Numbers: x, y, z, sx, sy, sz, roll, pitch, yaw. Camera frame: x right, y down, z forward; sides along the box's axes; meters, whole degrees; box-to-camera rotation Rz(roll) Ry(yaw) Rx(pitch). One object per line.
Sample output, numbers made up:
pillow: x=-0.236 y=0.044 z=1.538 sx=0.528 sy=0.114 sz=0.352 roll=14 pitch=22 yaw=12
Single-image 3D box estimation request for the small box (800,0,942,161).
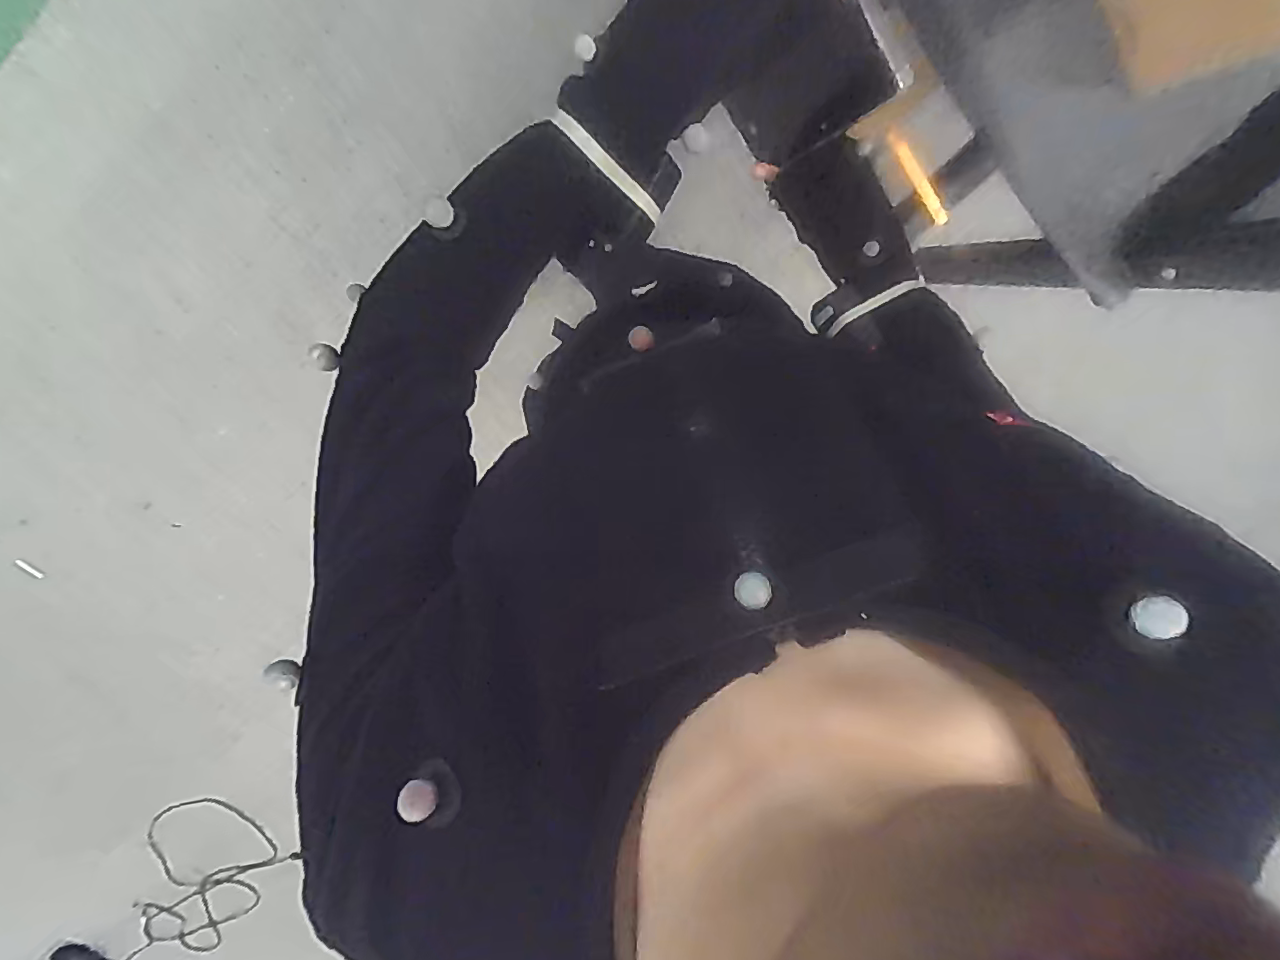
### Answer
small box: x=0.438 y=-0.765 z=1.060 sx=0.179 sy=0.176 sz=0.168 roll=-37 pitch=110 yaw=9
